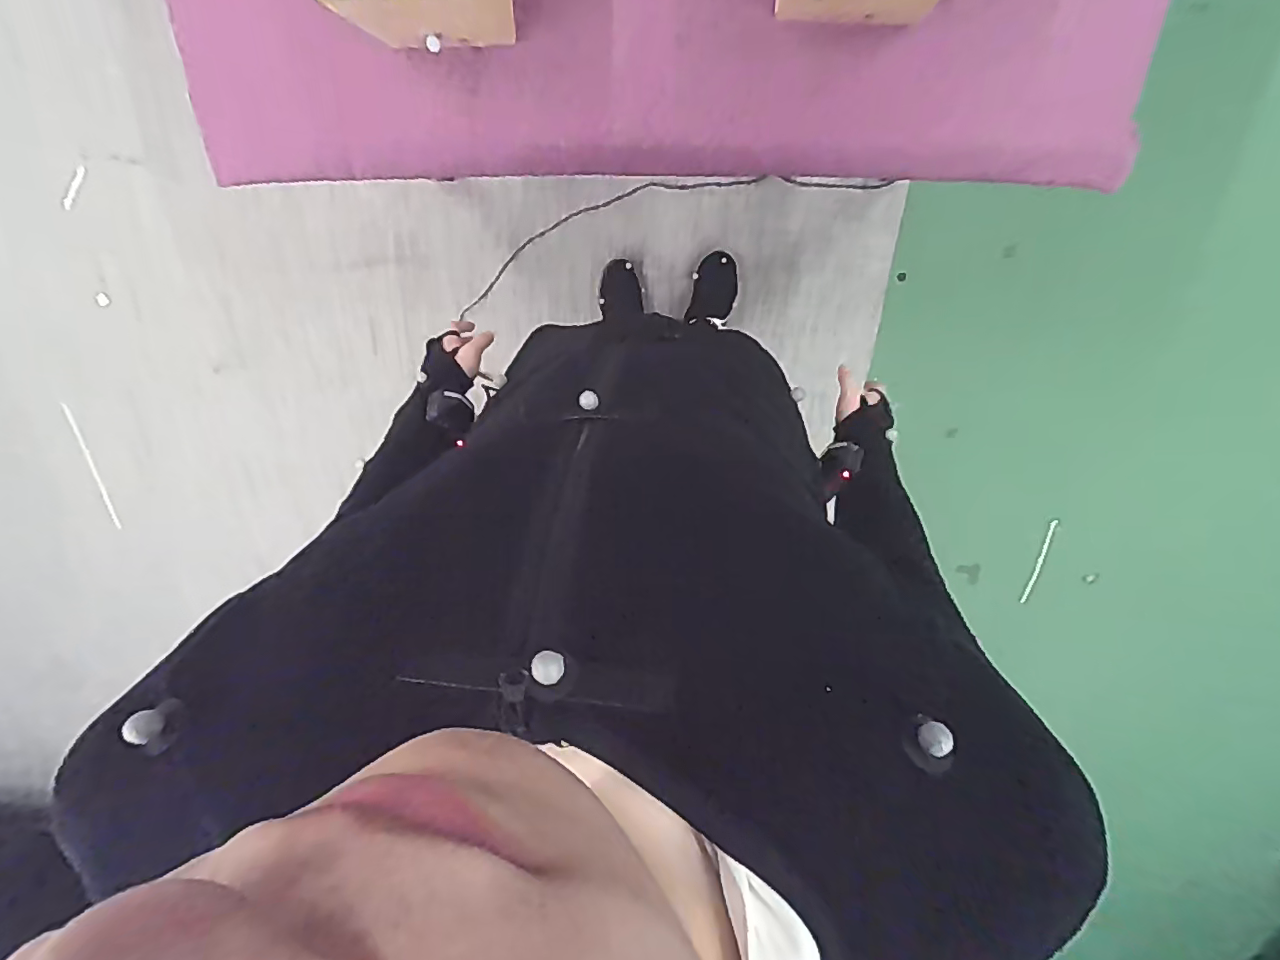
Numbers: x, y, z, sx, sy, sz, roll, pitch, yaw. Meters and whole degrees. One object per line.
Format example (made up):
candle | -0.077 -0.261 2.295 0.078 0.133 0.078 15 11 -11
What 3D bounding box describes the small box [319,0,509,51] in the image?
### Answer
small box | -0.248 -0.593 0.579 0.168 0.176 0.179 2 115 3
